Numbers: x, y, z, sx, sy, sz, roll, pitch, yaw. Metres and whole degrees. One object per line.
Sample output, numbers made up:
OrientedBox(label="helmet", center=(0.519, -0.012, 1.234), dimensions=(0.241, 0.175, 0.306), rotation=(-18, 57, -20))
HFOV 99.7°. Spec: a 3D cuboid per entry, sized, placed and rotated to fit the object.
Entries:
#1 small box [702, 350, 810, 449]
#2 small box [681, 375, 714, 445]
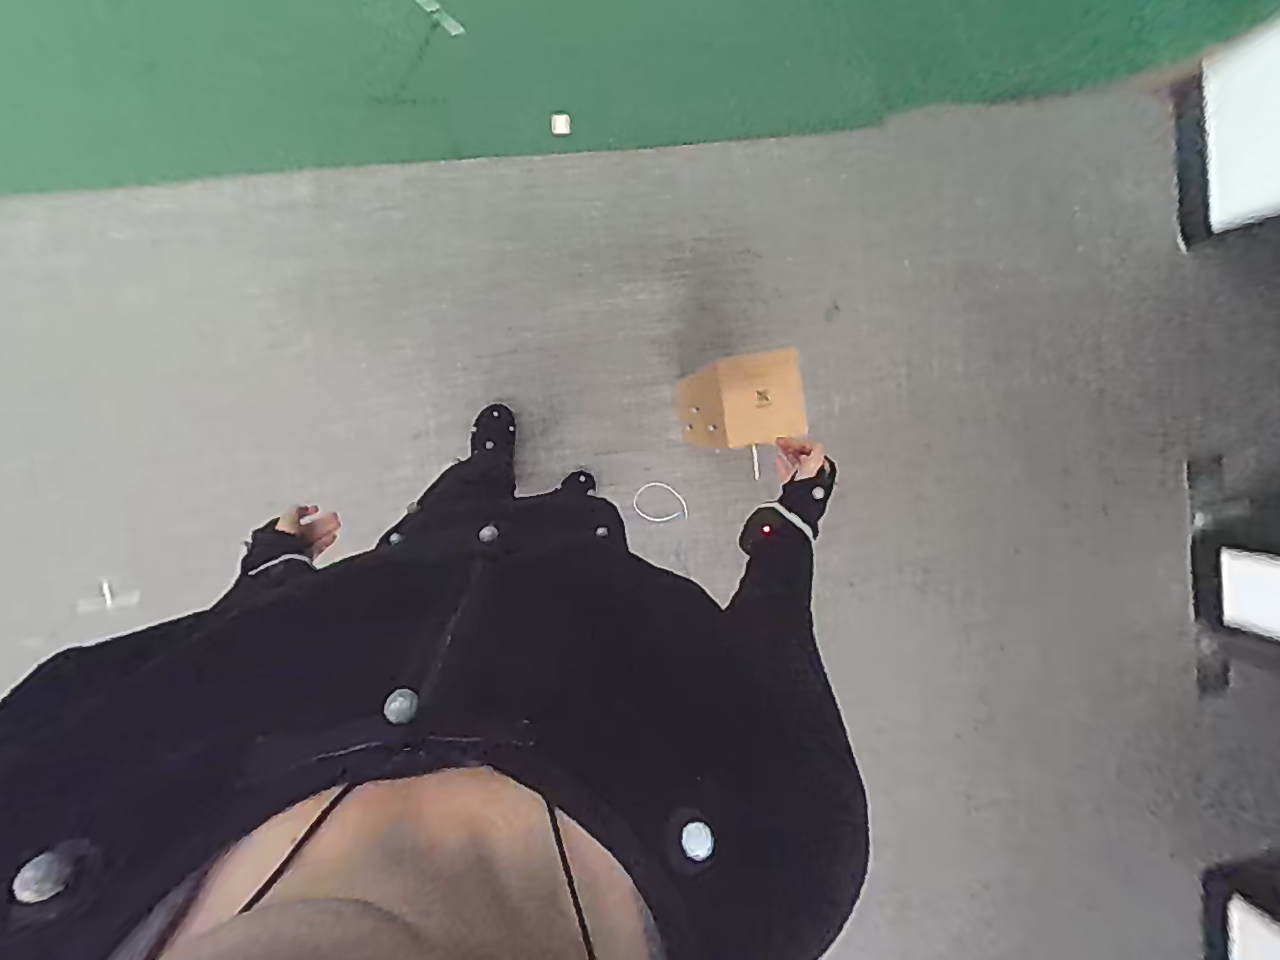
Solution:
OrientedBox(label="small box", center=(0.234, -0.163, 1.121), dimensions=(0.168, 0.176, 0.179), rotation=(-8, 95, -6))
OrientedBox(label="small box", center=(0.210, -0.192, 1.447), dimensions=(0.168, 0.176, 0.179), rotation=(-8, 96, -6))
